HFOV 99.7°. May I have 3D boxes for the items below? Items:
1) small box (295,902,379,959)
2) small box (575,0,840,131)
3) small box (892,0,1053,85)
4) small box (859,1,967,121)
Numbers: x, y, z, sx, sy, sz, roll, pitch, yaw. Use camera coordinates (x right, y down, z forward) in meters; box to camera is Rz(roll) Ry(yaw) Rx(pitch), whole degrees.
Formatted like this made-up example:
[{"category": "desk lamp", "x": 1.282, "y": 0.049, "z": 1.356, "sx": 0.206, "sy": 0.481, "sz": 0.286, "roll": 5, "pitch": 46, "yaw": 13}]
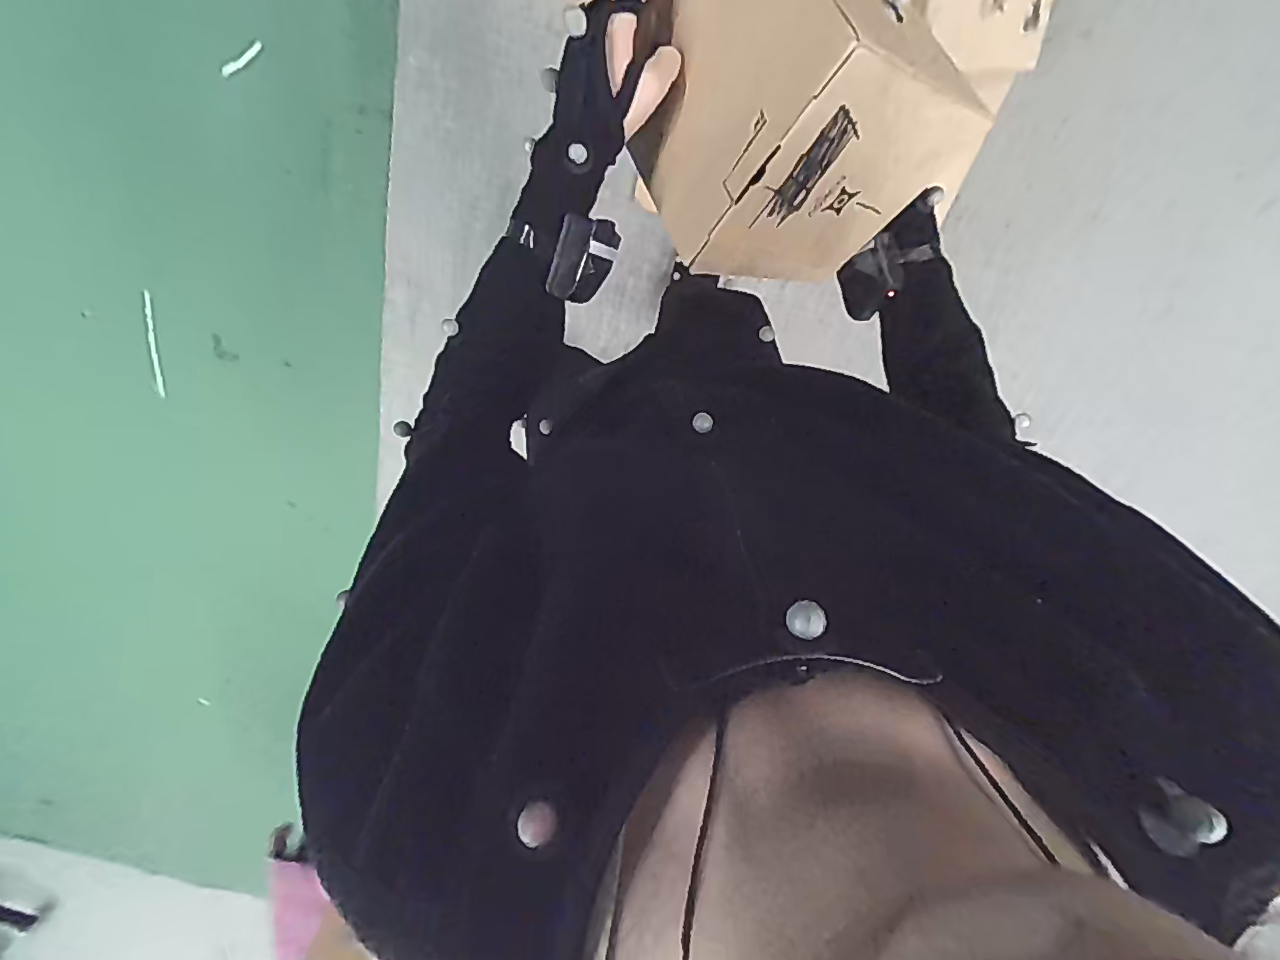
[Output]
[{"category": "small box", "x": -0.837, "y": 1.296, "z": 1.479, "sx": 0.168, "sy": 0.176, "sz": 0.179, "roll": 19, "pitch": 119, "yaw": -6}, {"category": "small box", "x": 0.051, "y": -0.438, "z": 0.440, "sx": 0.168, "sy": 0.176, "sz": 0.179, "roll": -11, "pitch": 163, "yaw": -32}, {"category": "small box", "x": 0.533, "y": -0.756, "z": 0.876, "sx": 0.179, "sy": 0.176, "sz": 0.168, "roll": 2, "pitch": 118, "yaw": 4}, {"category": "small box", "x": 0.551, "y": -0.824, "z": 1.024, "sx": 0.168, "sy": 0.176, "sz": 0.179, "roll": 34, "pitch": 116, "yaw": -13}]
